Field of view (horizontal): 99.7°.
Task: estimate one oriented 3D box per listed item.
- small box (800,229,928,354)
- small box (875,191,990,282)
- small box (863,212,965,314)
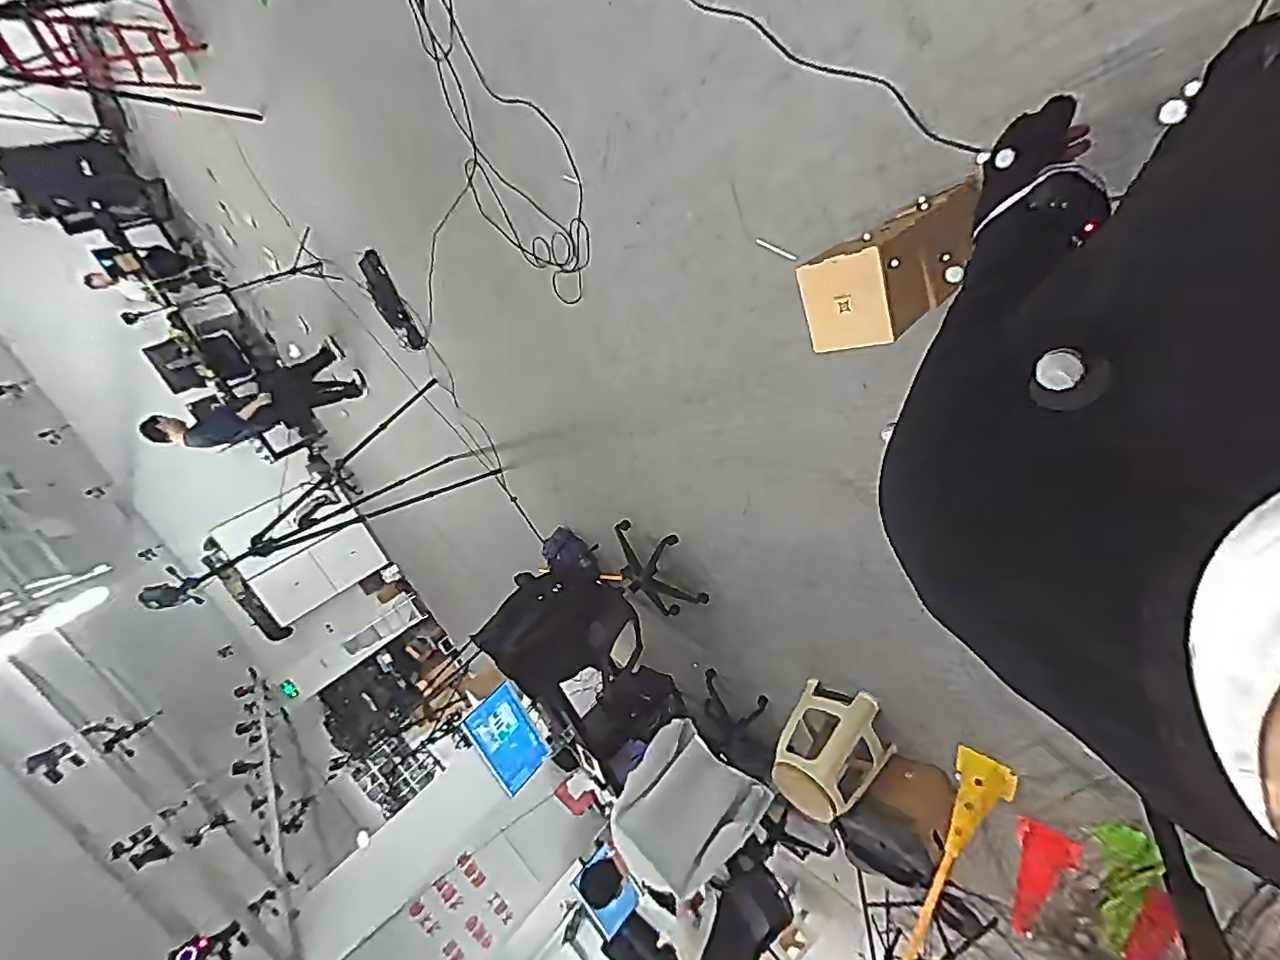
[{"bbox_3d":[0.448,-0.369,1.070,0.168,0.176,0.179,5,123,49],"label":"small box"},{"bbox_3d":[0.672,-0.538,1.238,0.168,0.176,0.179,-2,117,52],"label":"small box"},{"bbox_3d":[0.563,-0.448,1.152,0.168,0.176,0.179,-2,120,52],"label":"small box"}]
